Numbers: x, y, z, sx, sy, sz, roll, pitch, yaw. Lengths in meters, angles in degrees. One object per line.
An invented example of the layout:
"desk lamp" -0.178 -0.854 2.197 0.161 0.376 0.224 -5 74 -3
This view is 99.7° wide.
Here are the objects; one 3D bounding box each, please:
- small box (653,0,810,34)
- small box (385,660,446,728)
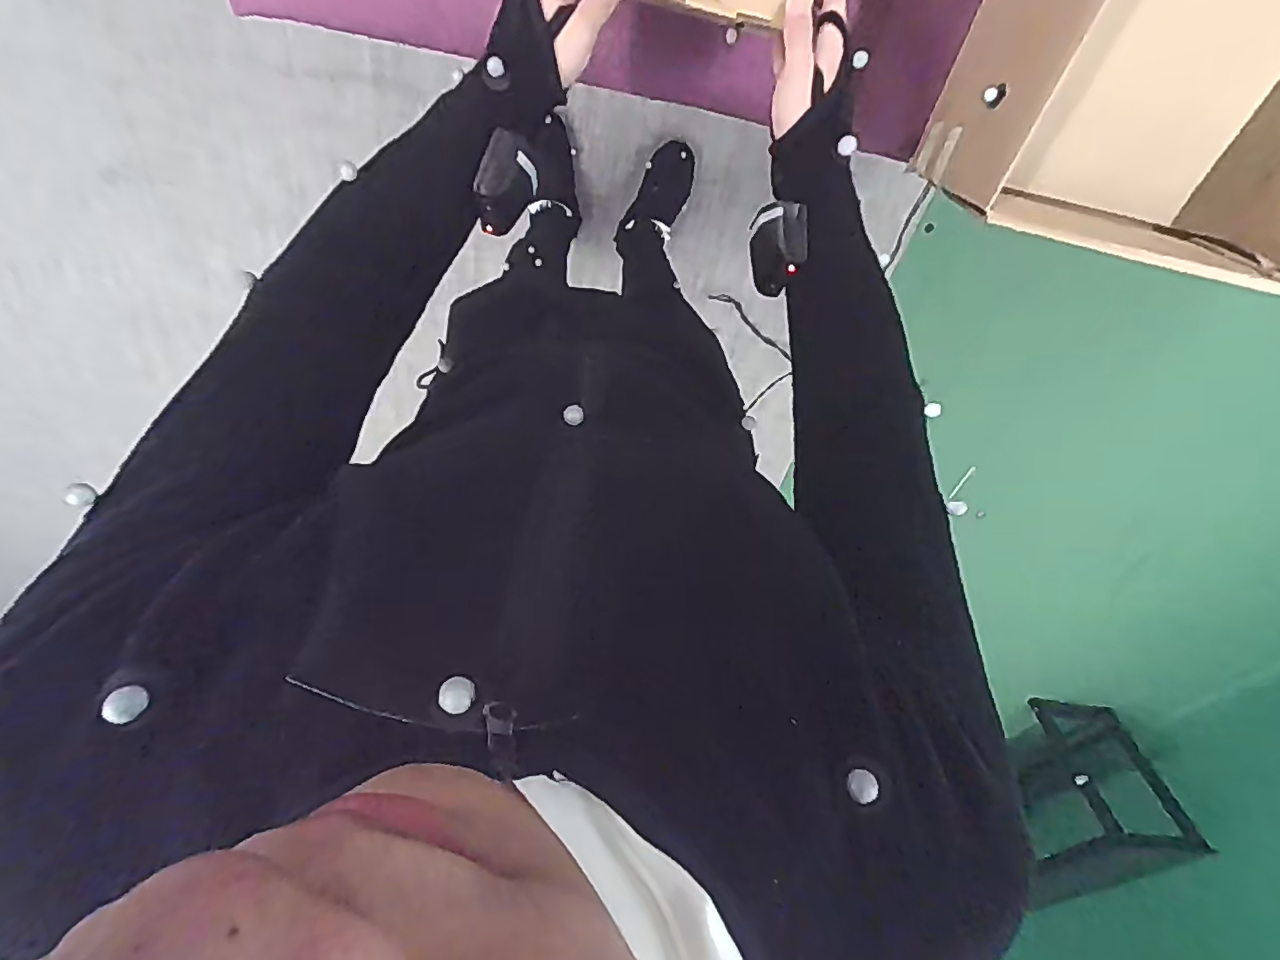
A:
"small box" 0.071 -0.501 0.448 0.168 0.176 0.179 8 128 -10
"small box" -0.853 0.814 2.065 0.168 0.176 0.179 18 126 -16
